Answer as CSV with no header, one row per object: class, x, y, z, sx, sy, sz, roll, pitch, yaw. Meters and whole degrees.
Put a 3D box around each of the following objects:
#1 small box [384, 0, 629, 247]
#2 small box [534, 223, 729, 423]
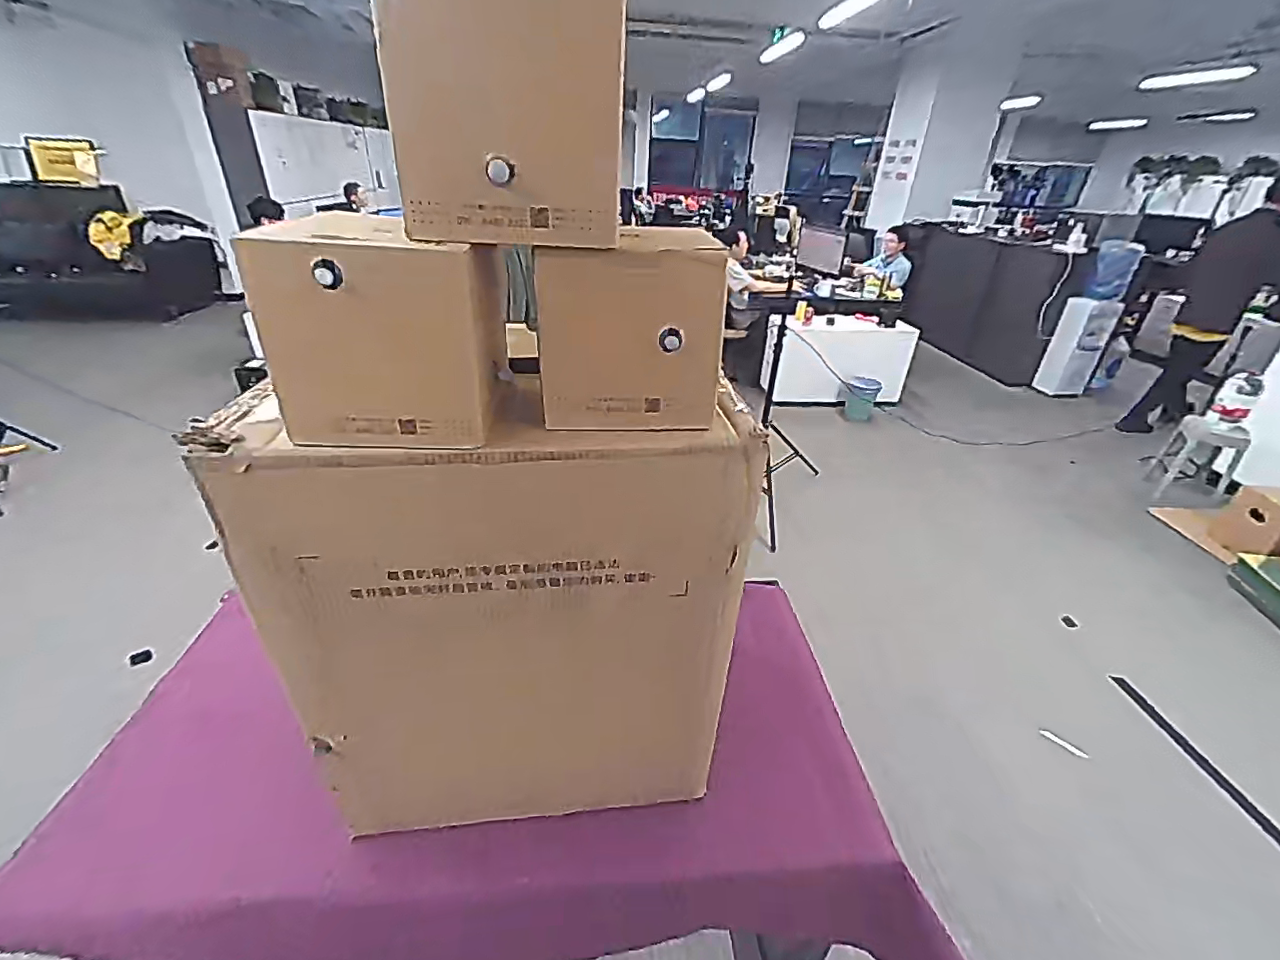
small box,-0.099,-0.302,0.455,0.168,0.176,0.179,0,30,-5
small box,-0.011,-0.165,0.553,0.168,0.176,0.179,0,28,-4
